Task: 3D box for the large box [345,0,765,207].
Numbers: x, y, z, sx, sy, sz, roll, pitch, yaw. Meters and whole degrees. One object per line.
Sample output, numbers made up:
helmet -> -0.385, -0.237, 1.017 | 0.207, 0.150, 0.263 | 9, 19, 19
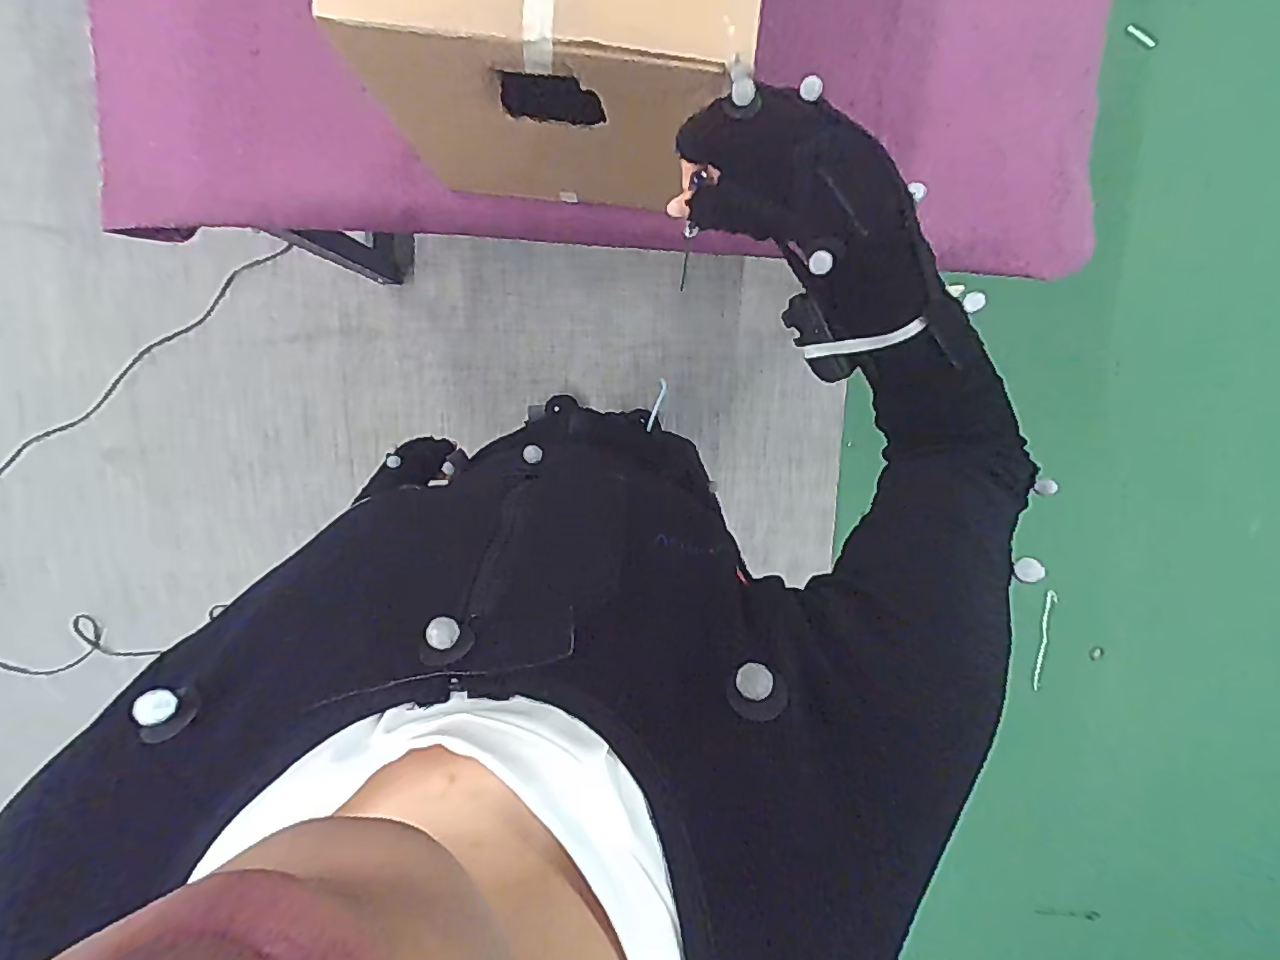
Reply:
large box -> -0.057, -0.537, 0.517 | 0.320, 0.320, 0.408 | 5, 100, -4
